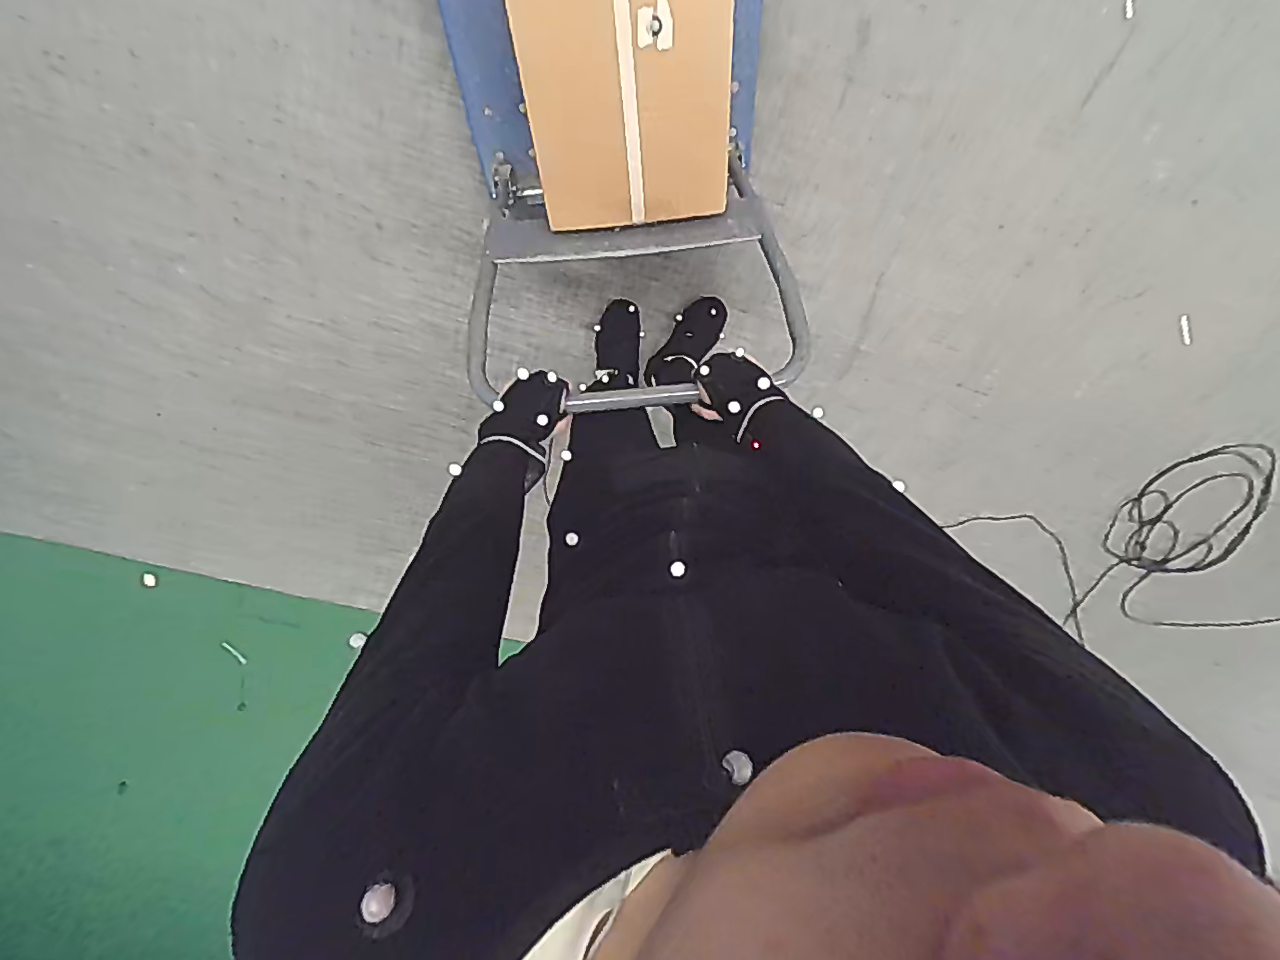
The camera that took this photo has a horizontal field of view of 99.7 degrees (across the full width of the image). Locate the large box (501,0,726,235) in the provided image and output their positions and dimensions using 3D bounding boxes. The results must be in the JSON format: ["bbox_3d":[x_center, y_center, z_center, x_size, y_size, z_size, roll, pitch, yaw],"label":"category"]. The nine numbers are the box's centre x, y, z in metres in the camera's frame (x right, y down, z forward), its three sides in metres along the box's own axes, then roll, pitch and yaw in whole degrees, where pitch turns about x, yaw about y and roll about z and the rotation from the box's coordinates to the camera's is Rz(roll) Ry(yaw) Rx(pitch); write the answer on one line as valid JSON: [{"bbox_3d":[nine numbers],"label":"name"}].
[{"bbox_3d":[-0.032,-0.694,0.921,0.320,0.320,0.408,-7,136,1],"label":"large box"}]
